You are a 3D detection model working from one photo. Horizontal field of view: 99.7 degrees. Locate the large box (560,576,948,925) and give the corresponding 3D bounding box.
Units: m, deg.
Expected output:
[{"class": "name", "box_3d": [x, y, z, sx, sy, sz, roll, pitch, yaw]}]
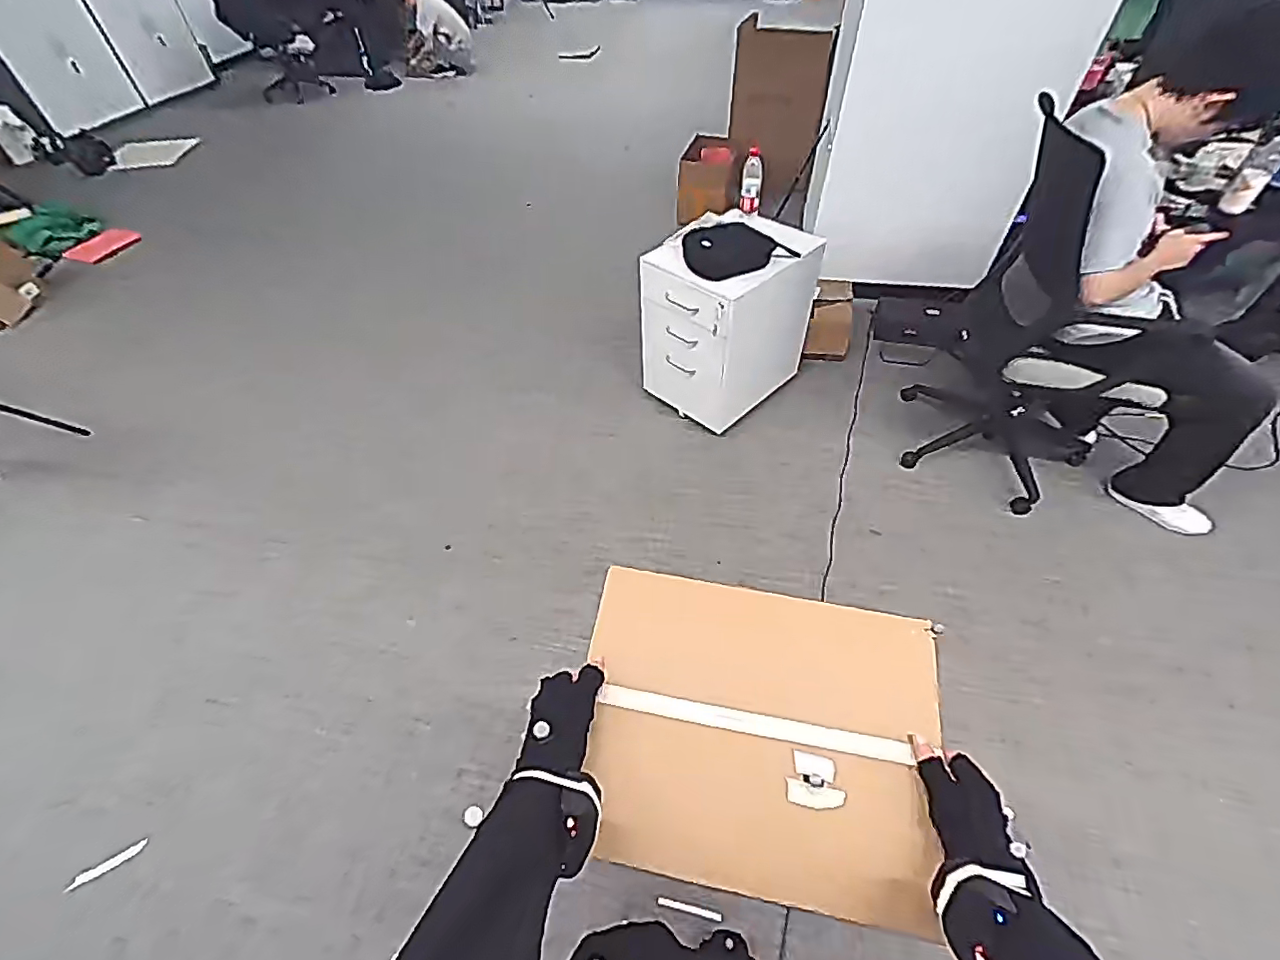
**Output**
[{"class": "large box", "box_3d": [0.135, 0.360, 0.752, 0.408, 0.320, 0.320, 9, 59, 7]}]
